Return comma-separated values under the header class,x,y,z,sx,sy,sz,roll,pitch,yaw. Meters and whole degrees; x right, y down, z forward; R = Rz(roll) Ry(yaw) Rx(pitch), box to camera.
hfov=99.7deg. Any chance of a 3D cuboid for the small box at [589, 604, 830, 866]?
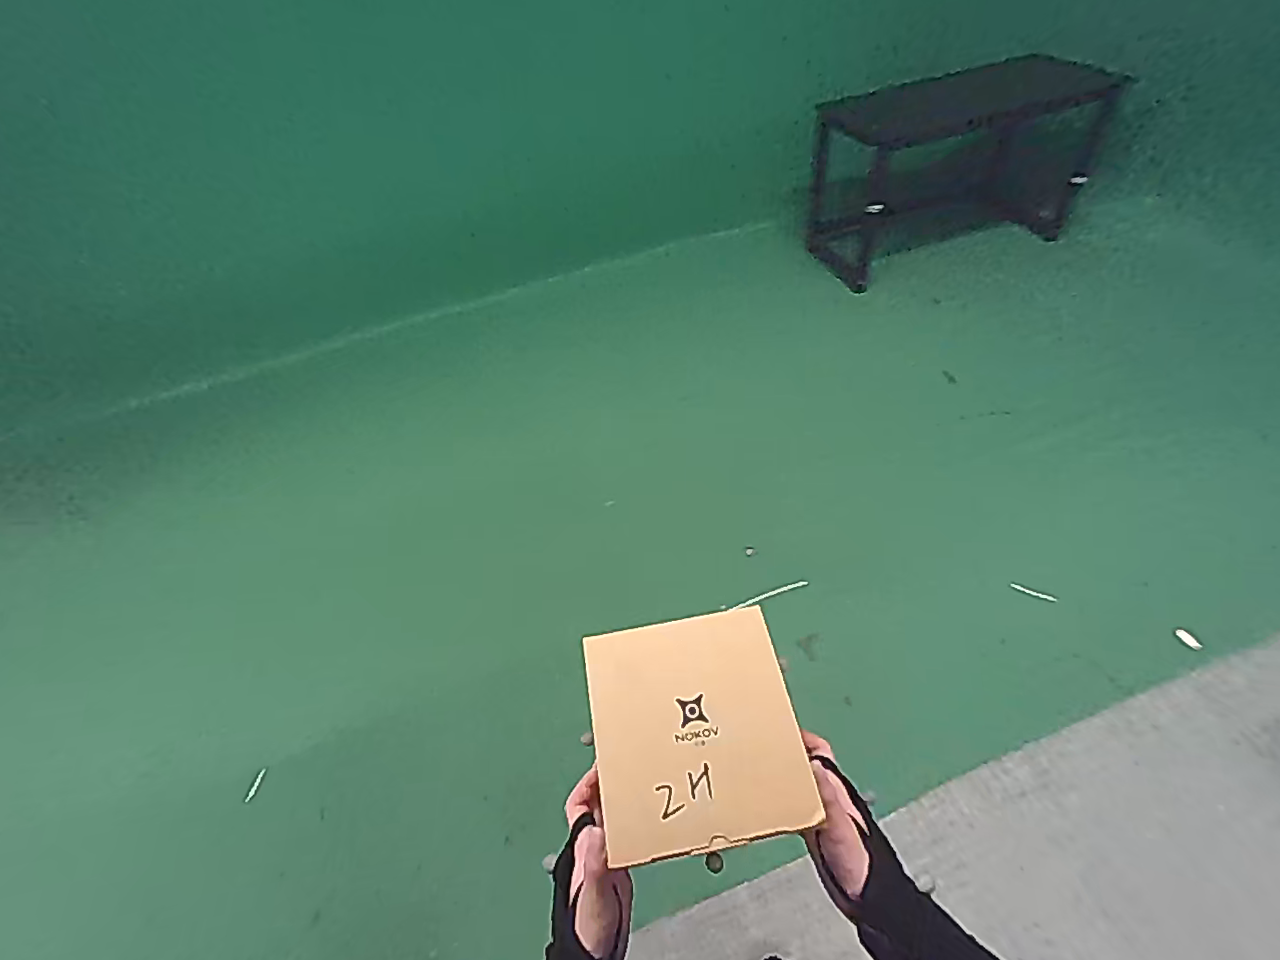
class,x,y,z,sx,sy,sz,roll,pitch,yaw
small box,0.049,0.238,0.497,0.168,0.176,0.179,-9,55,-1
